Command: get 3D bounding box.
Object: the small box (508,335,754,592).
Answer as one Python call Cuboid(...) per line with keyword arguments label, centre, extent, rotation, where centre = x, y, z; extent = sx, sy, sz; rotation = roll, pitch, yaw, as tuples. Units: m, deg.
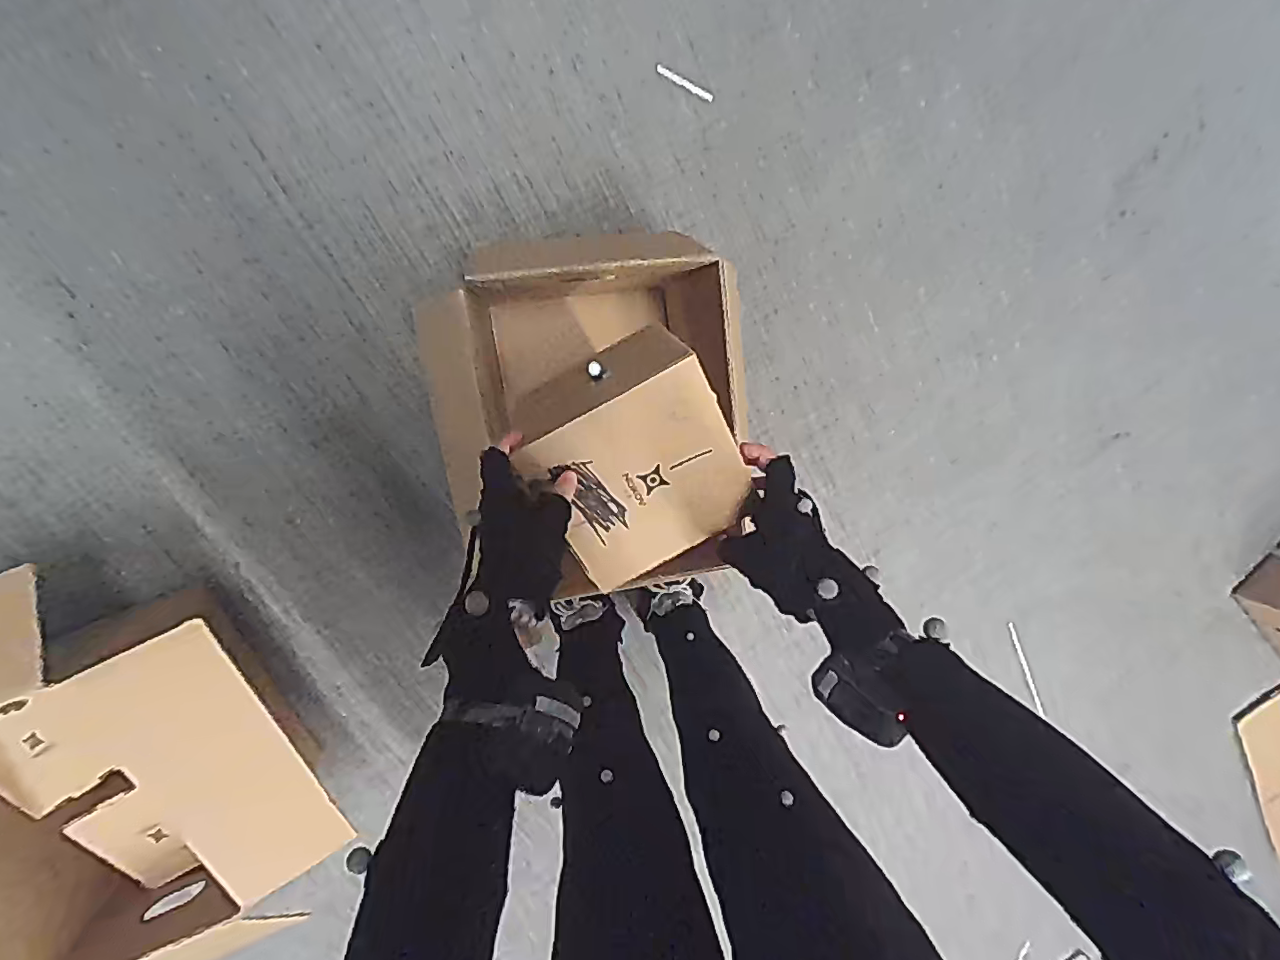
Cuboid(label="small box", centre=(-0.013, -0.025, 0.553), extent=(0.179, 0.176, 0.168), rotation=(-27, 117, 3))
